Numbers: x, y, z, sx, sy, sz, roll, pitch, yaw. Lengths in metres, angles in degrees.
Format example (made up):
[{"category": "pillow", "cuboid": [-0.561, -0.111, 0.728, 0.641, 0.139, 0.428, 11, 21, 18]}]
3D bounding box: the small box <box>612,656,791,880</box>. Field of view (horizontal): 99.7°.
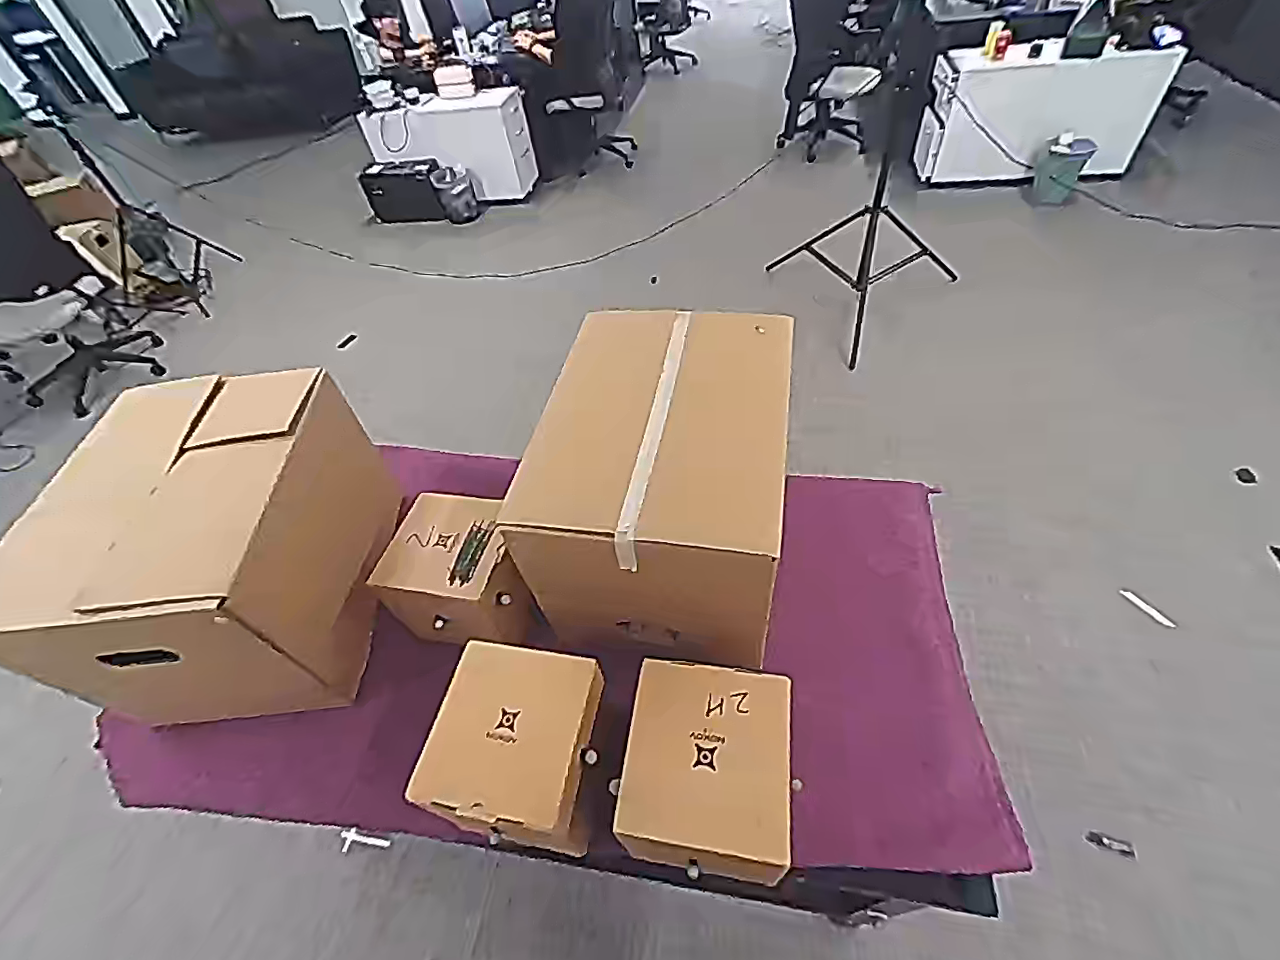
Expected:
[{"category": "small box", "cuboid": [0.077, 0.324, 0.607, 0.168, 0.176, 0.179, 4, 49, 11]}]
